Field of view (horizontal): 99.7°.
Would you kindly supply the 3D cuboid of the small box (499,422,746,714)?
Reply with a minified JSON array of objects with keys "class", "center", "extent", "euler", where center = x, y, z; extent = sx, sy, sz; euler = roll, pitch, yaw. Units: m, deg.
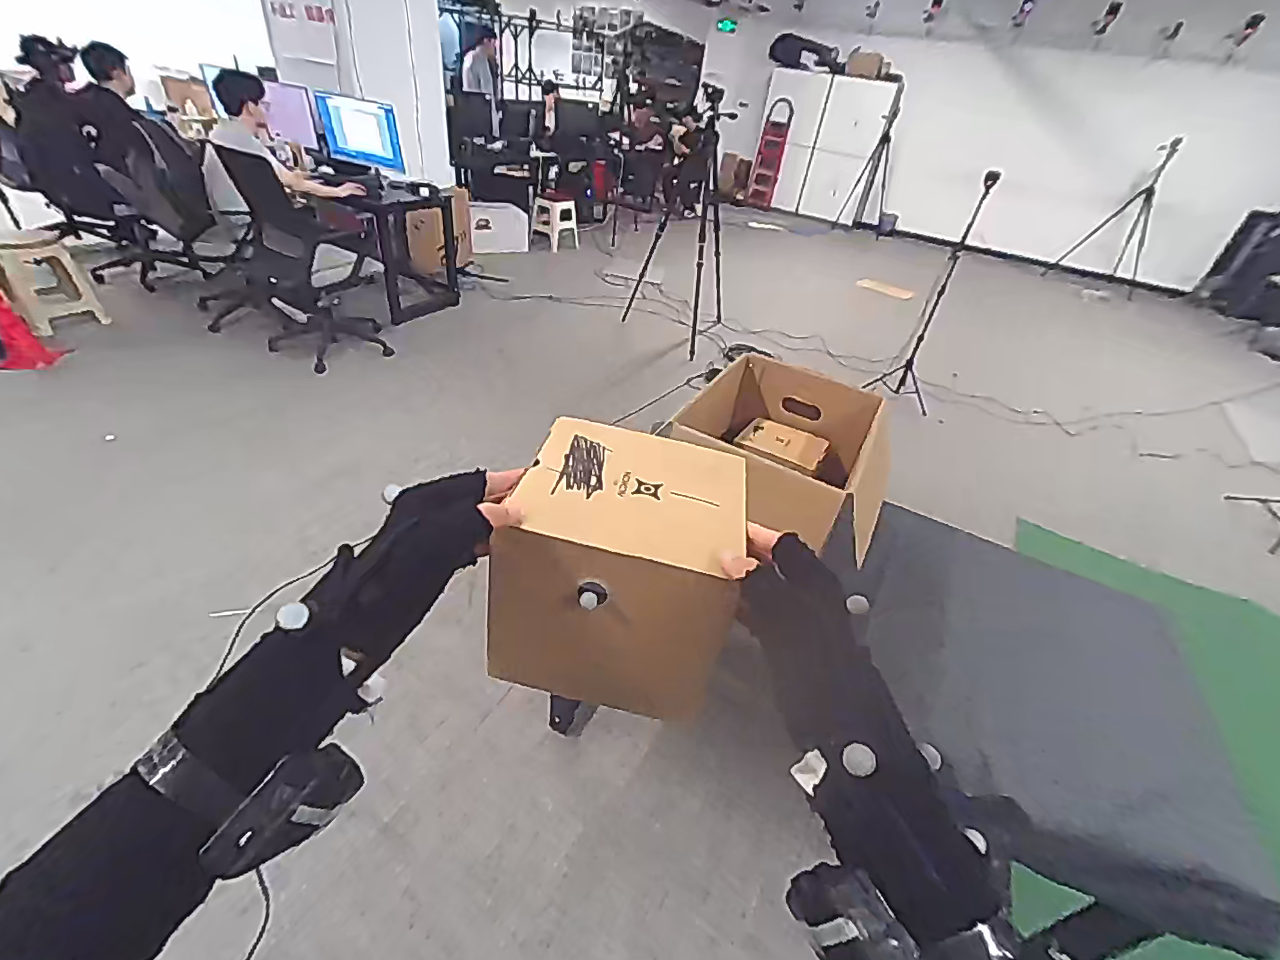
[{"class":"small box","center":[-0.014,0.074,0.473],"extent":[0.179,0.176,0.168],"euler":[14,33,2]}]
